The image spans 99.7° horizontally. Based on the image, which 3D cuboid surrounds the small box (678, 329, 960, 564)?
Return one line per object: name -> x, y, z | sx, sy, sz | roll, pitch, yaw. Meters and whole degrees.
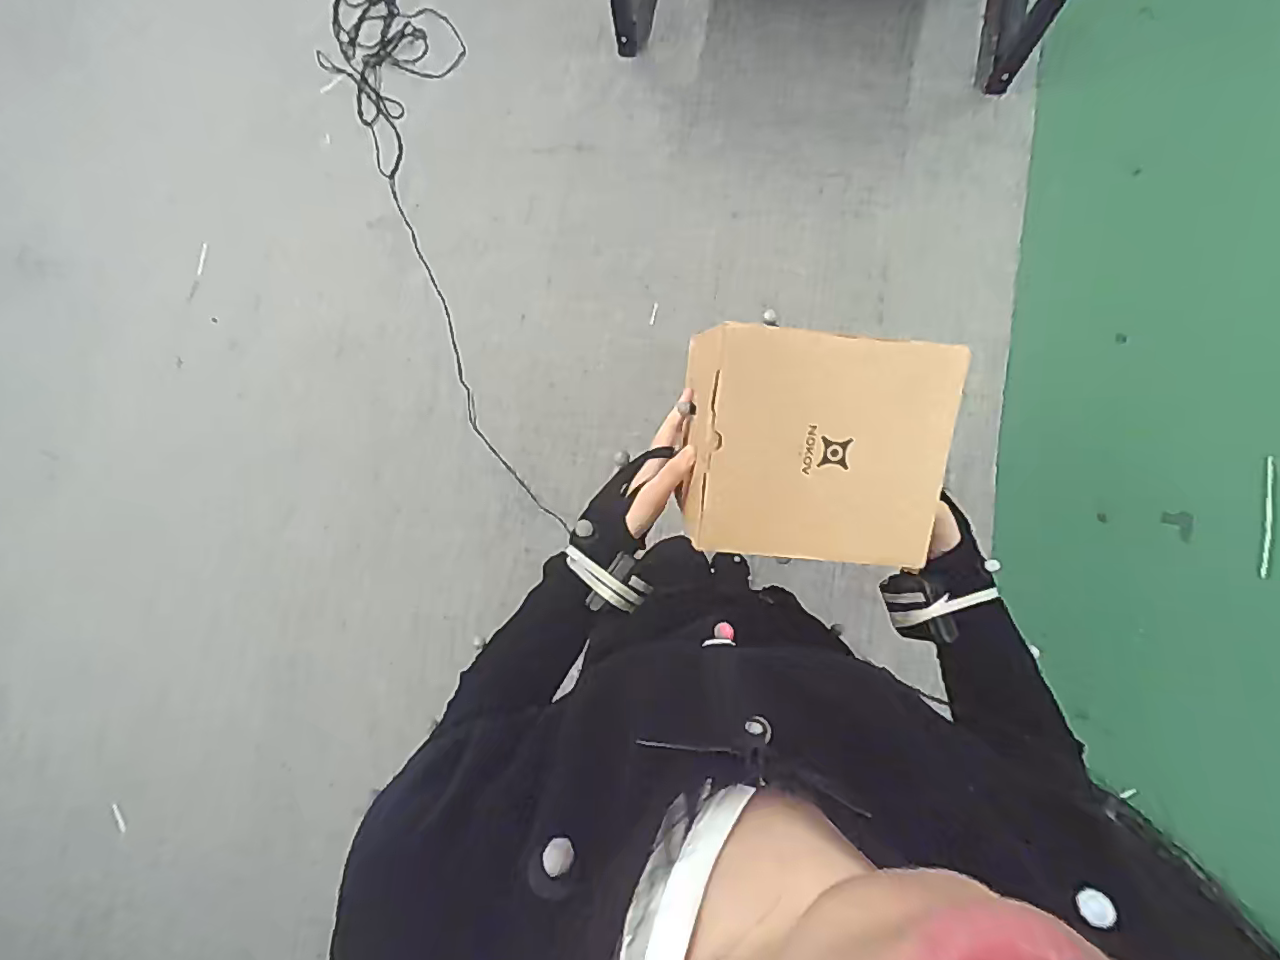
small box -> 0.133, -0.036, 0.472 | 0.179, 0.176, 0.168 | 4, 101, -1
